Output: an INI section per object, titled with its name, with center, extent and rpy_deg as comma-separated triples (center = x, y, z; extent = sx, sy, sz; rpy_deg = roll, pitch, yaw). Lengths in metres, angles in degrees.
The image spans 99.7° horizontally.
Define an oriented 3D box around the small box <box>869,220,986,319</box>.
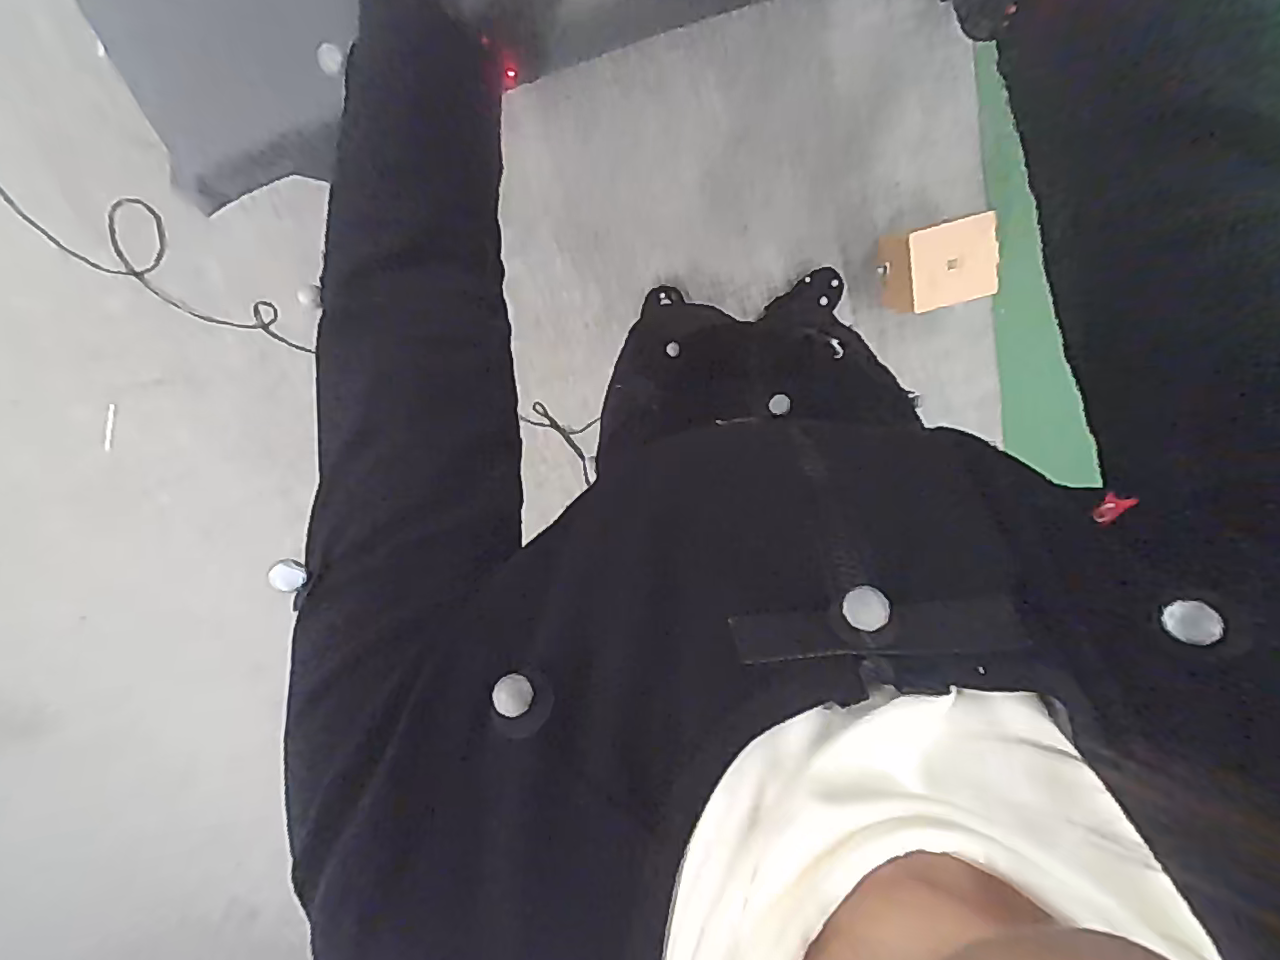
[small box]
center = 0.634, -0.468, 1.202
extent = 0.179, 0.176, 0.168
rpy_deg = -13, 111, 6
